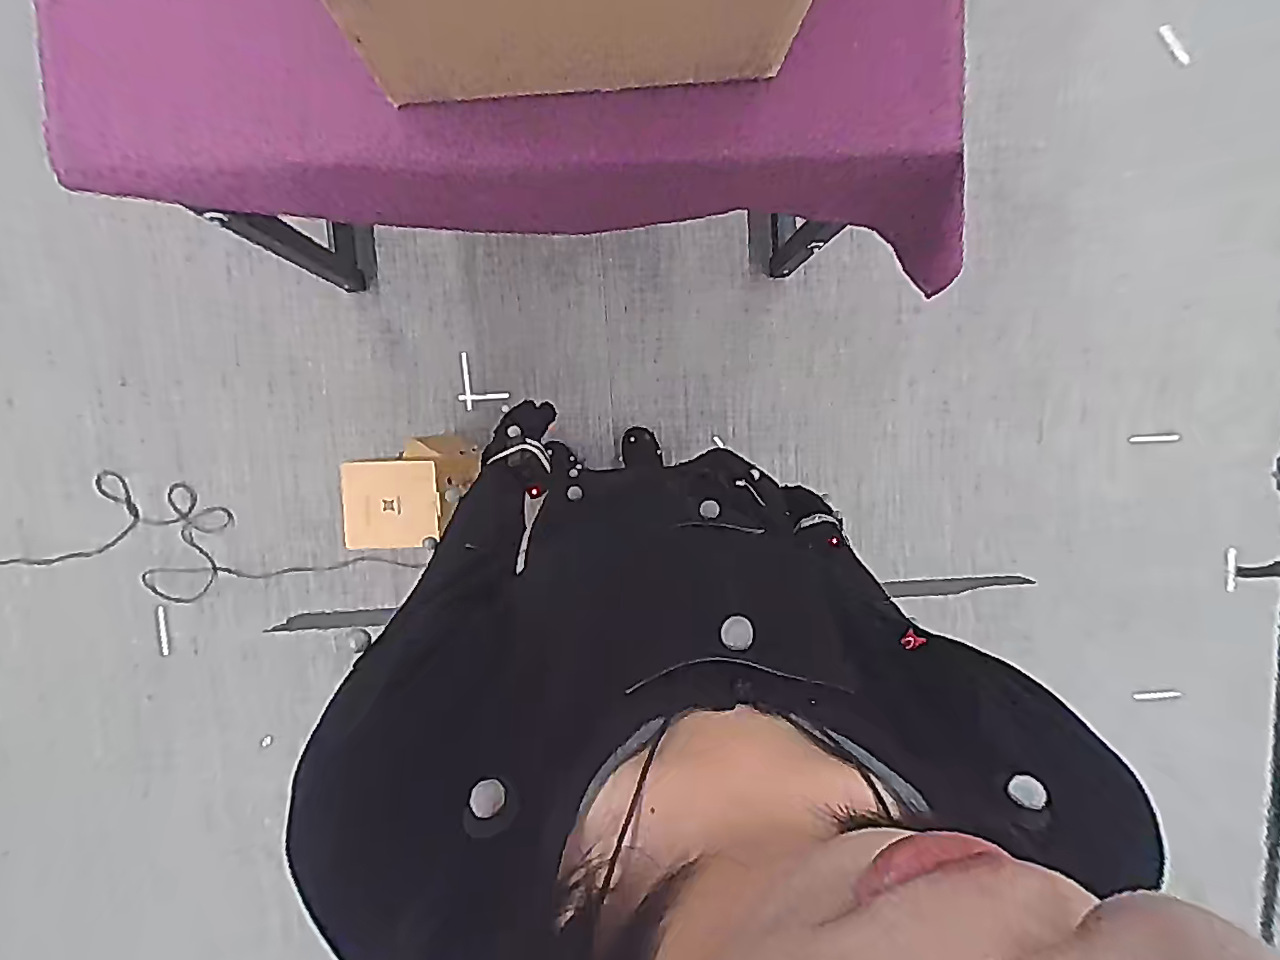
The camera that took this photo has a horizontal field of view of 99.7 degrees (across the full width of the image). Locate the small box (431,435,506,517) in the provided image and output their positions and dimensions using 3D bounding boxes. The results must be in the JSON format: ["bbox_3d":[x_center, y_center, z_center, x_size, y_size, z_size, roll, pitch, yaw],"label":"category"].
[{"bbox_3d":[-0.469,-0.005,1.399,0.179,0.176,0.168,27,93,-7],"label":"small box"}]

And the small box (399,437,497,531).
[{"bbox_3d":[-0.455,0.015,1.237,0.179,0.176,0.168,29,94,-5],"label":"small box"}]

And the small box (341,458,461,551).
[{"bbox_3d":[-0.463,0.042,1.075,0.179,0.176,0.168,-2,95,-3],"label":"small box"}]
